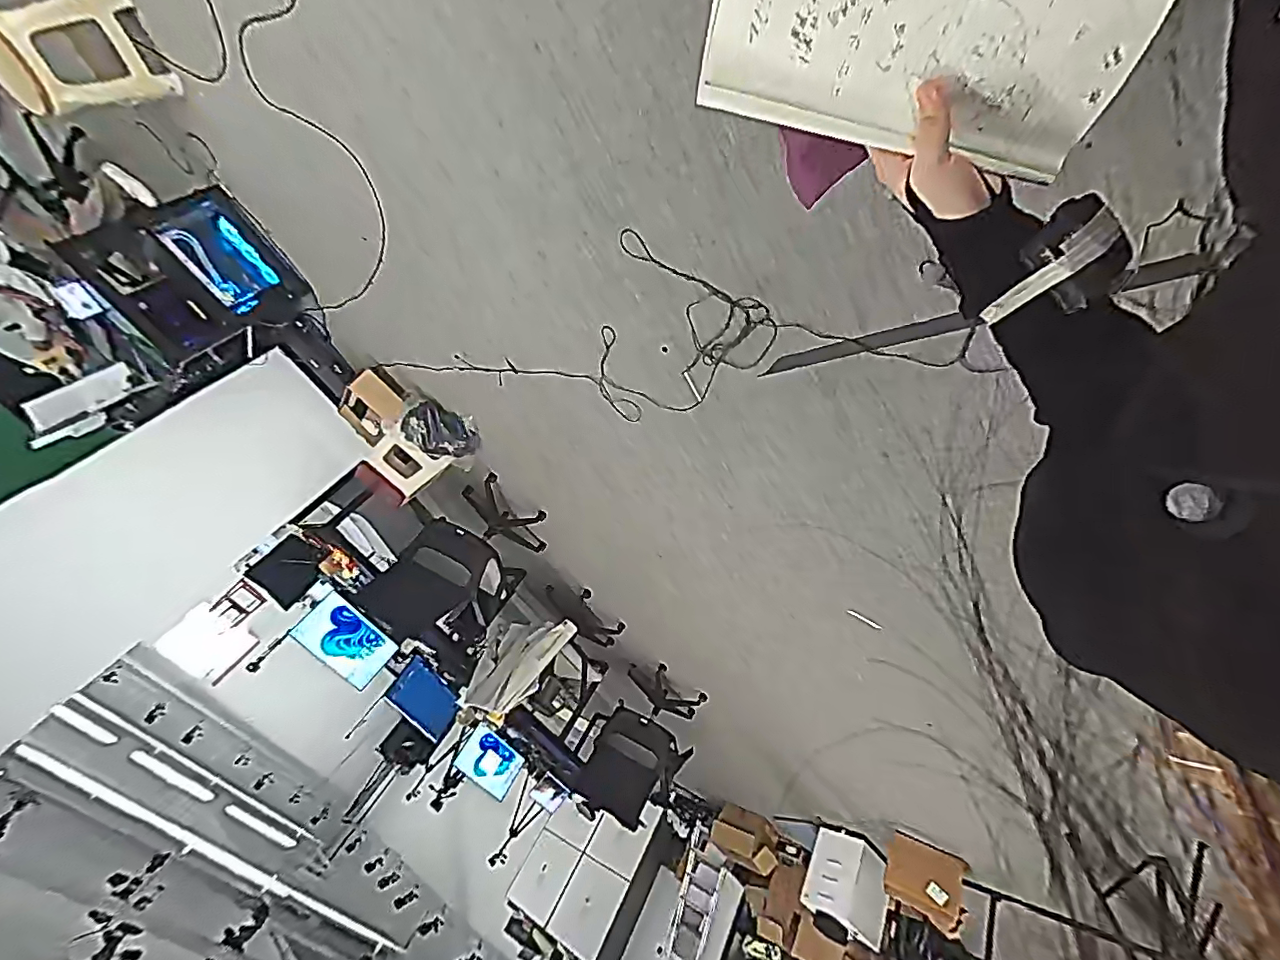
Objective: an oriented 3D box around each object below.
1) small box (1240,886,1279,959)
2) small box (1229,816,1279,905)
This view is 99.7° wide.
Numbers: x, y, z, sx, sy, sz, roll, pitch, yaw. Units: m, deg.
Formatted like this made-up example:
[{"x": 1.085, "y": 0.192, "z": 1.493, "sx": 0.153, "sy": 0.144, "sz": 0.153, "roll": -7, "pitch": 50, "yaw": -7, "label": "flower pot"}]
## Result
[{"x": 1.525, "y": 1.088, "z": 1.247, "sx": 0.168, "sy": 0.176, "sz": 0.179, "roll": -1, "pitch": 132, "yaw": 40, "label": "small box"}, {"x": 1.596, "y": 0.968, "z": 1.335, "sx": 0.179, "sy": 0.176, "sz": 0.168, "roll": -4, "pitch": 131, "yaw": 41, "label": "small box"}]
